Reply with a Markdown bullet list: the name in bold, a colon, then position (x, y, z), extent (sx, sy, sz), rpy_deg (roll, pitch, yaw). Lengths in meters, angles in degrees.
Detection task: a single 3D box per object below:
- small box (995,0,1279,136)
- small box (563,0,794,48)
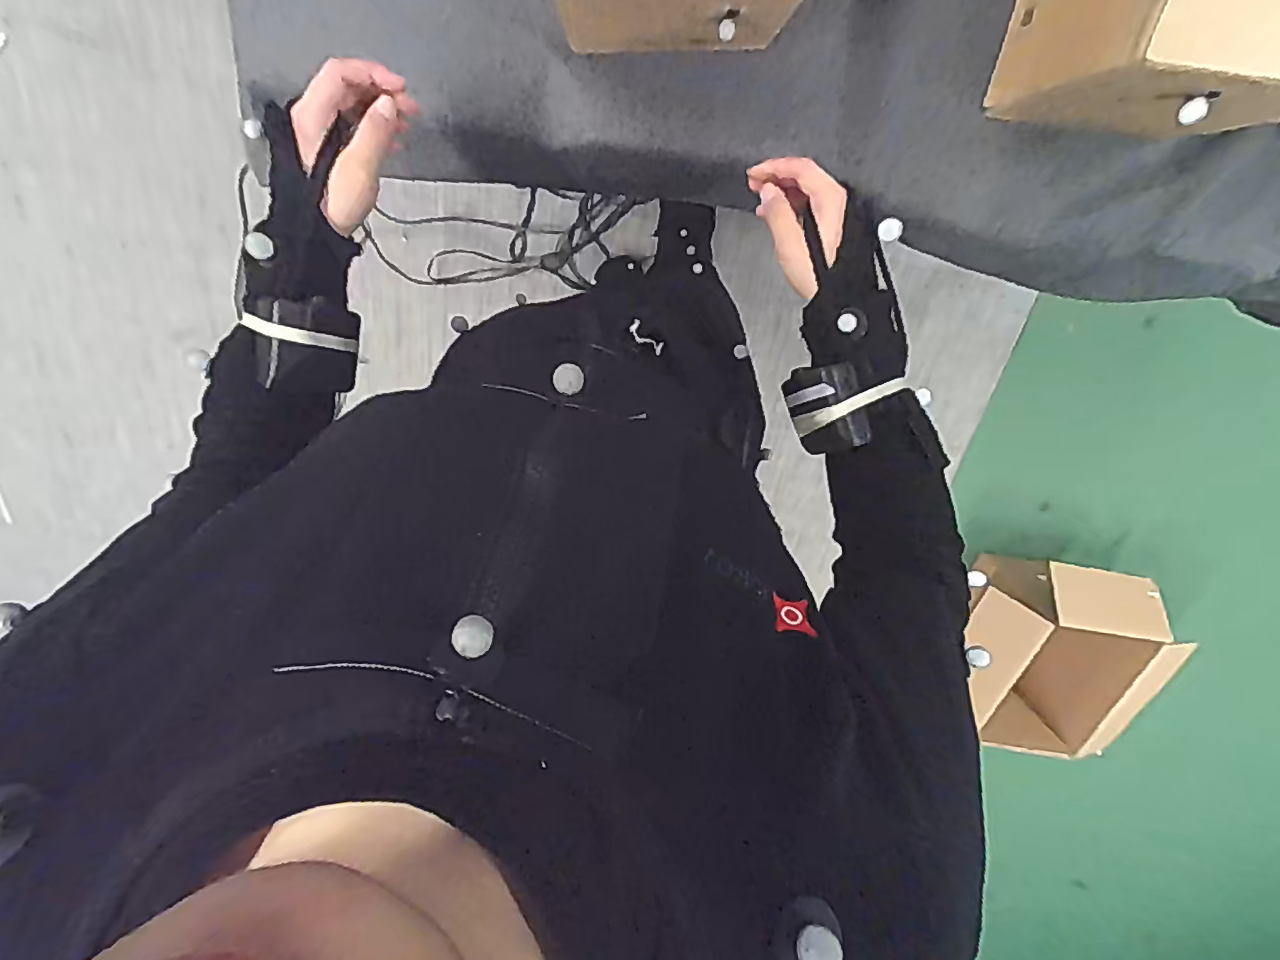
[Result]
- **small box**: position (0.398, -0.348, 0.368), extent (0.179, 0.176, 0.168), rpy_deg (6, 115, -2)
- **small box**: position (0.027, -0.401, 0.342), extent (0.168, 0.176, 0.179), rpy_deg (-2, 114, -1)
